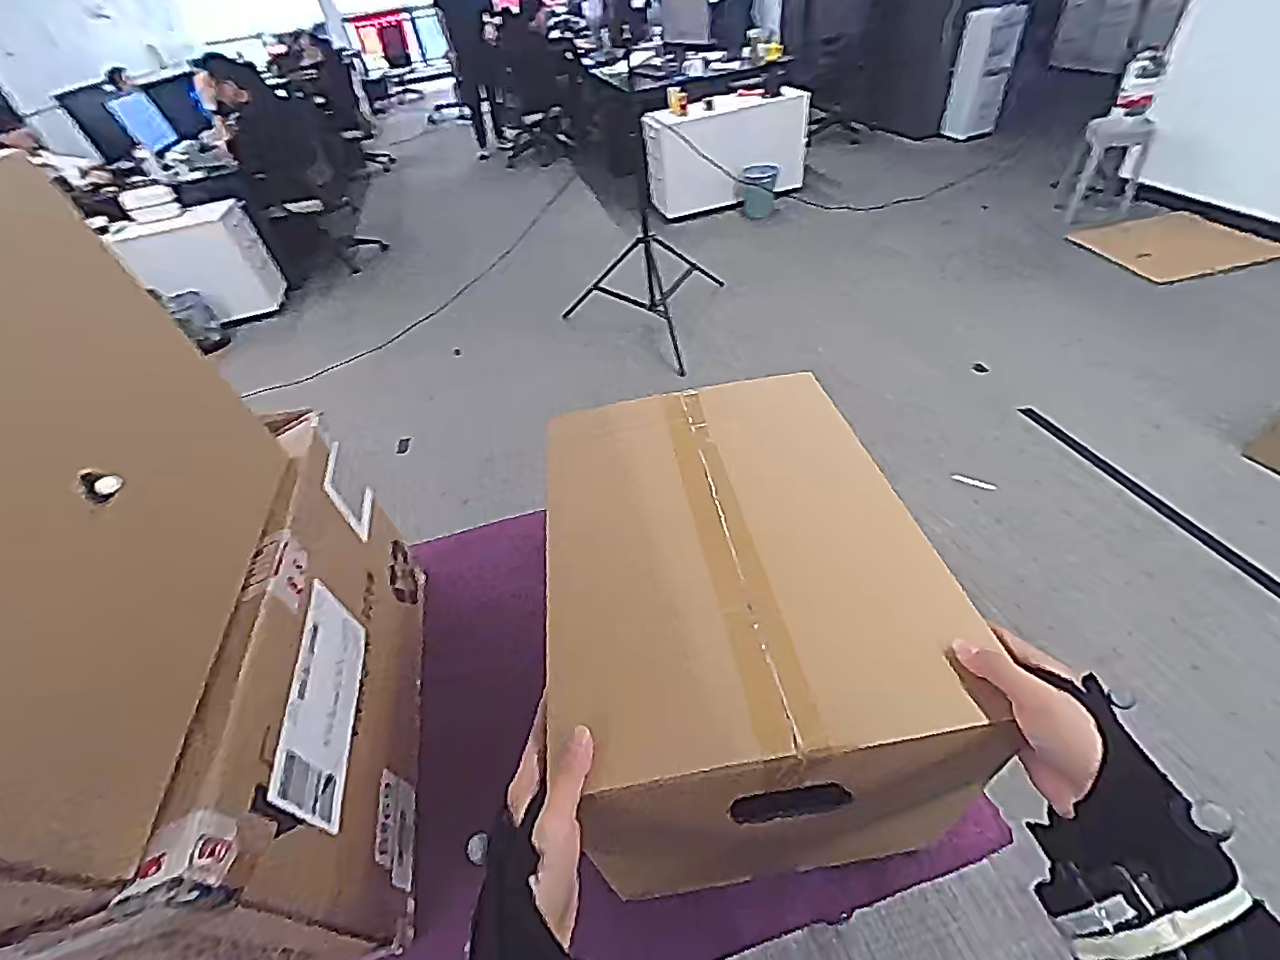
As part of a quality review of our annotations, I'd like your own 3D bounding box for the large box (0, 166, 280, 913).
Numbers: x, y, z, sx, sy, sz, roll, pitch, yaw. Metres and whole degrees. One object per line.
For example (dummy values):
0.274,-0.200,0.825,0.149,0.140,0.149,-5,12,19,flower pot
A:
-0.515,0.045,0.355,0.320,0.320,0.408,-18,45,-3,large box
